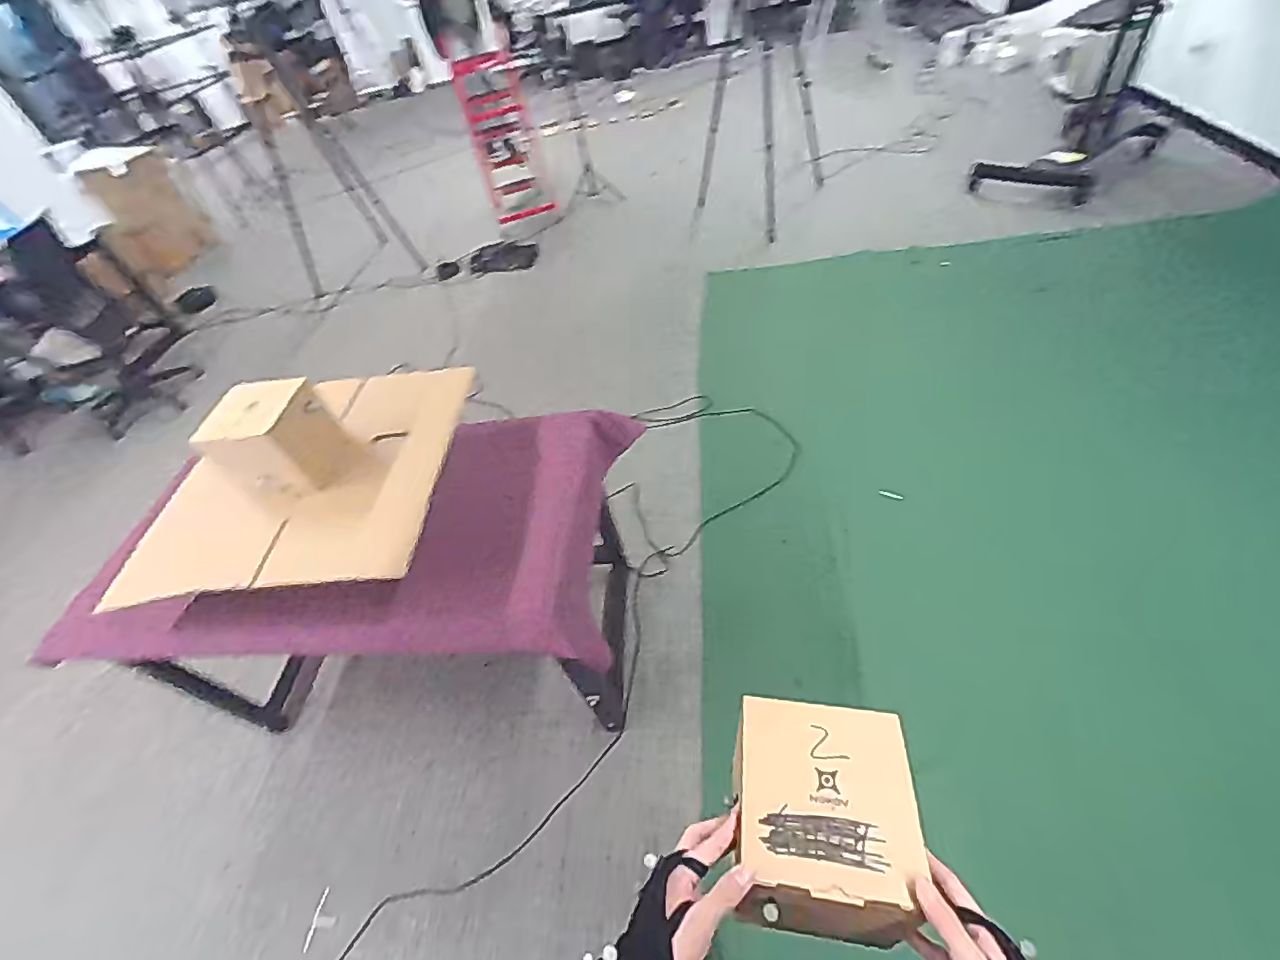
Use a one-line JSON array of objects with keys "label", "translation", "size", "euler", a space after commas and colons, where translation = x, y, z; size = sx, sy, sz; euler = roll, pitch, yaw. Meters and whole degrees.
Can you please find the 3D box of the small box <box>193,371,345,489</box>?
[{"label": "small box", "translation": [-0.752, -0.102, 1.124], "size": [0.168, 0.176, 0.179], "euler": [-4, 49, 8]}]
